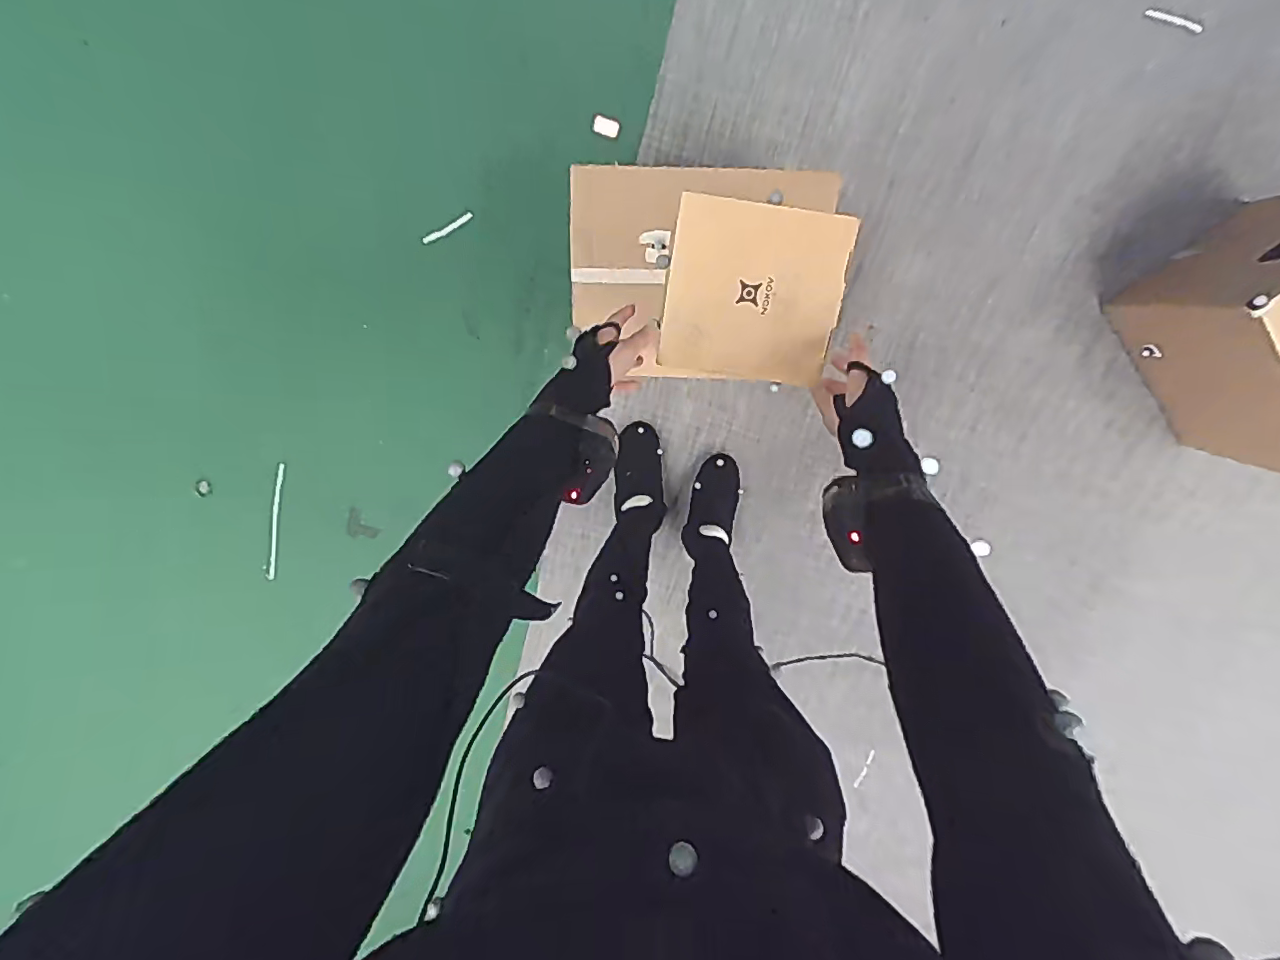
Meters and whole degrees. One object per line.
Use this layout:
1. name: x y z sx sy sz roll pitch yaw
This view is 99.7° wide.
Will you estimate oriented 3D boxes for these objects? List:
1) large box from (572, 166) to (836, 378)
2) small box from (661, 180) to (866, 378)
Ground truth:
1. large box: 0.102 -0.366 0.994 0.408 0.320 0.320 2 106 2
2. small box: 0.120 -0.218 0.611 0.179 0.176 0.168 8 108 -2
